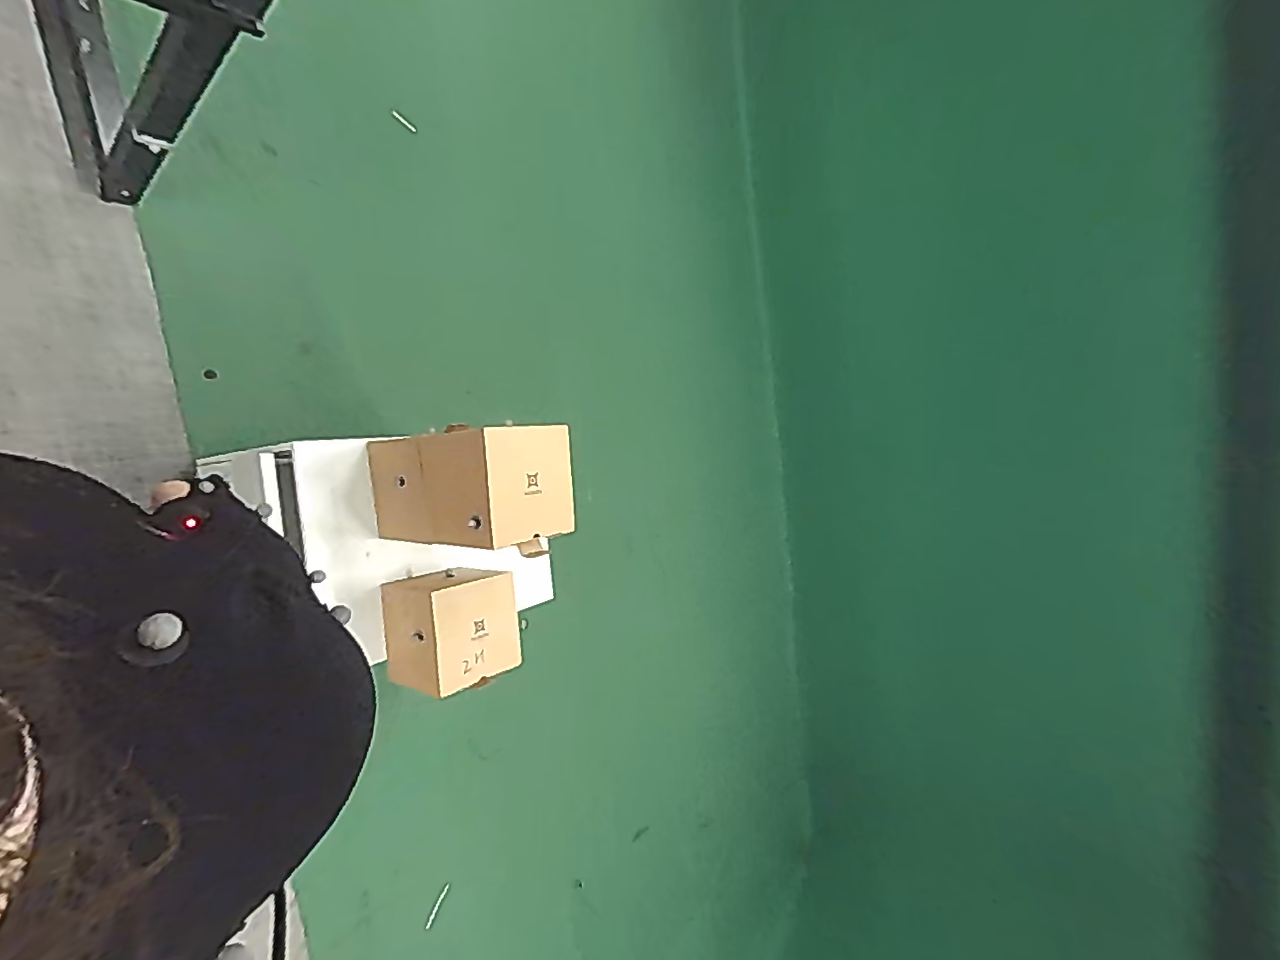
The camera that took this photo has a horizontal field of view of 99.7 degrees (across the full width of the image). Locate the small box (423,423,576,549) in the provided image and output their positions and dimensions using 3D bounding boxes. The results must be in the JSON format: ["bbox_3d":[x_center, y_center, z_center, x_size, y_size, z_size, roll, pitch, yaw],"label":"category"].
[{"bbox_3d":[-0.223,0.004,0.854,0.168,0.176,0.179,-10,99,-52],"label":"small box"}]

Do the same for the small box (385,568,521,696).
[{"bbox_3d":[-0.335,0.256,0.963,0.168,0.176,0.179,-6,93,-51],"label":"small box"}]

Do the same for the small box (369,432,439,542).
[{"bbox_3d":[-0.353,0.006,0.953,0.168,0.176,0.179,-12,99,-51],"label":"small box"}]
